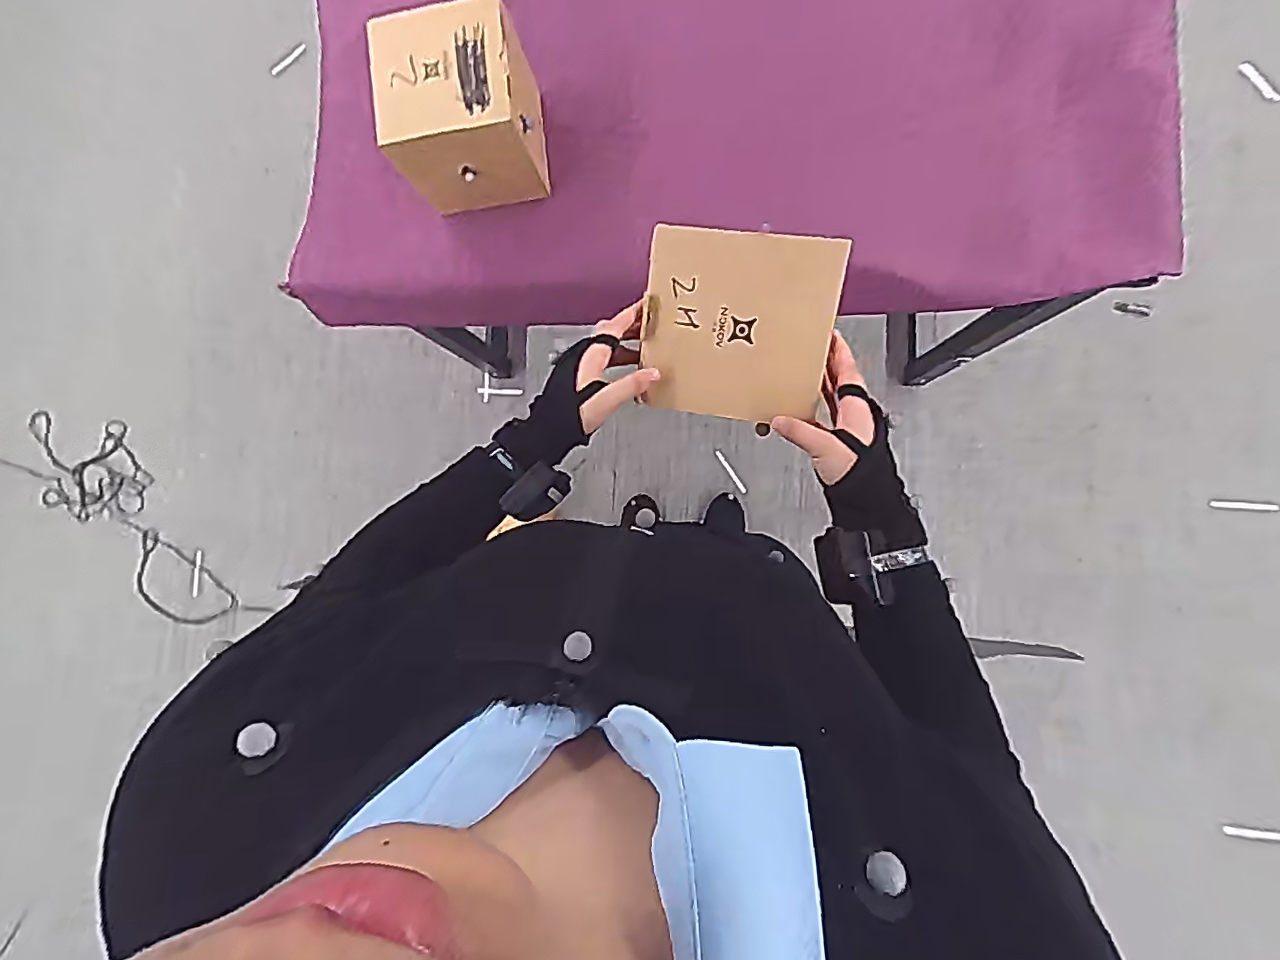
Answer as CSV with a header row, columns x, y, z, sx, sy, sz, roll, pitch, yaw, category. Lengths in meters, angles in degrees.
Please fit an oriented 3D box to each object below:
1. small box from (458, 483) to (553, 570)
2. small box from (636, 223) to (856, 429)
x,y,z,sx,sy,sz,roll,pitch,yaw,category
-0.354,0.123,1.464,0.168,0.176,0.179,25,90,5,small box
0.110,-0.157,0.570,0.179,0.176,0.168,12,104,13,small box
